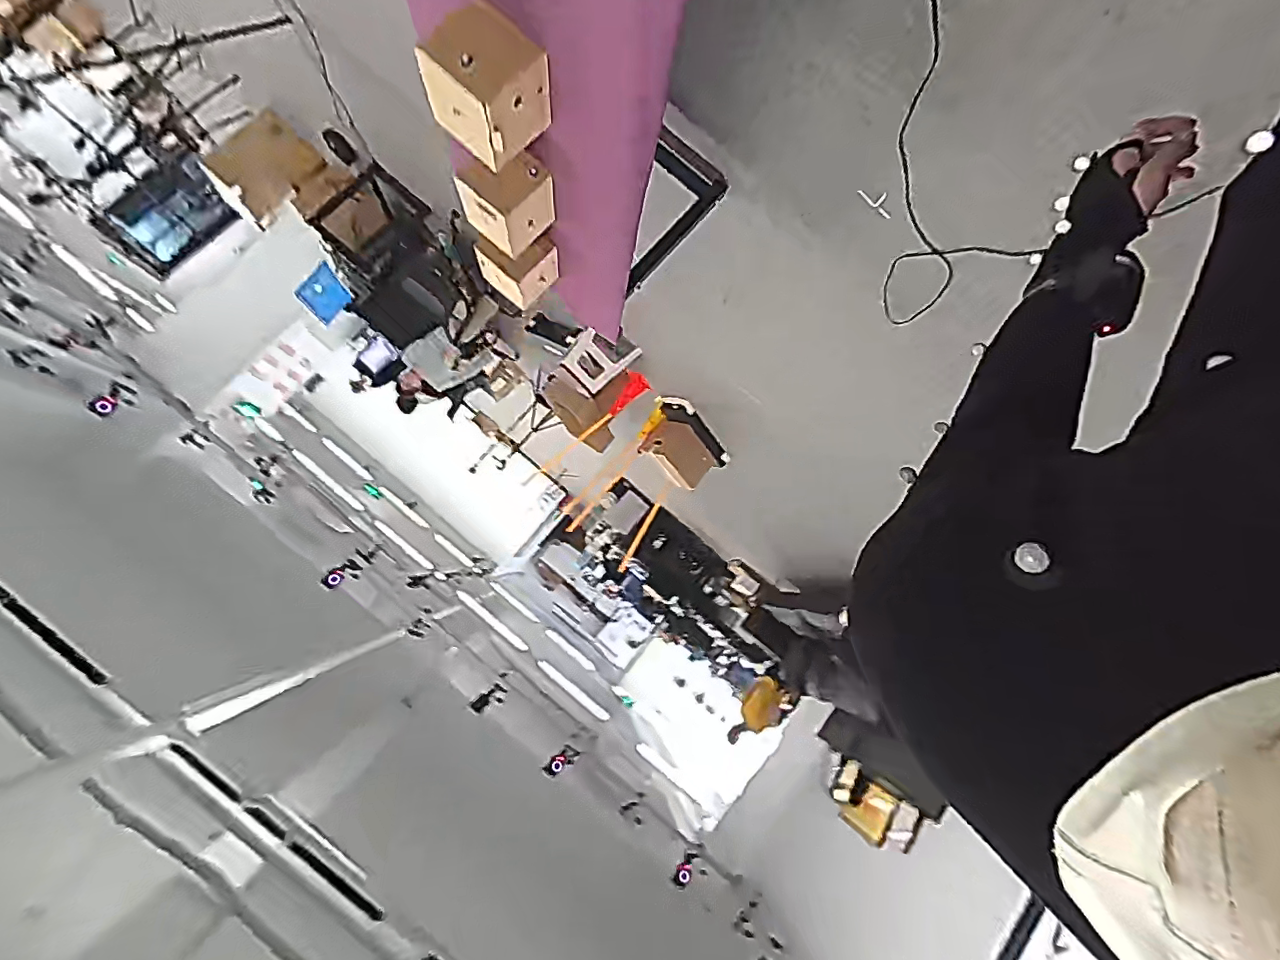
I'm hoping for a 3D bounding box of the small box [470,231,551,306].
[{"bbox_3d":[-0.383,-0.676,1.649,0.179,0.176,0.168,40,167,1],"label":"small box"}]

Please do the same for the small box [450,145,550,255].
[{"bbox_3d":[-0.343,-0.722,1.364,0.168,0.176,0.179,41,169,1],"label":"small box"}]

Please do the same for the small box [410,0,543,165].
[{"bbox_3d":[-0.302,-0.774,1.051,0.179,0.176,0.168,41,168,0],"label":"small box"}]
